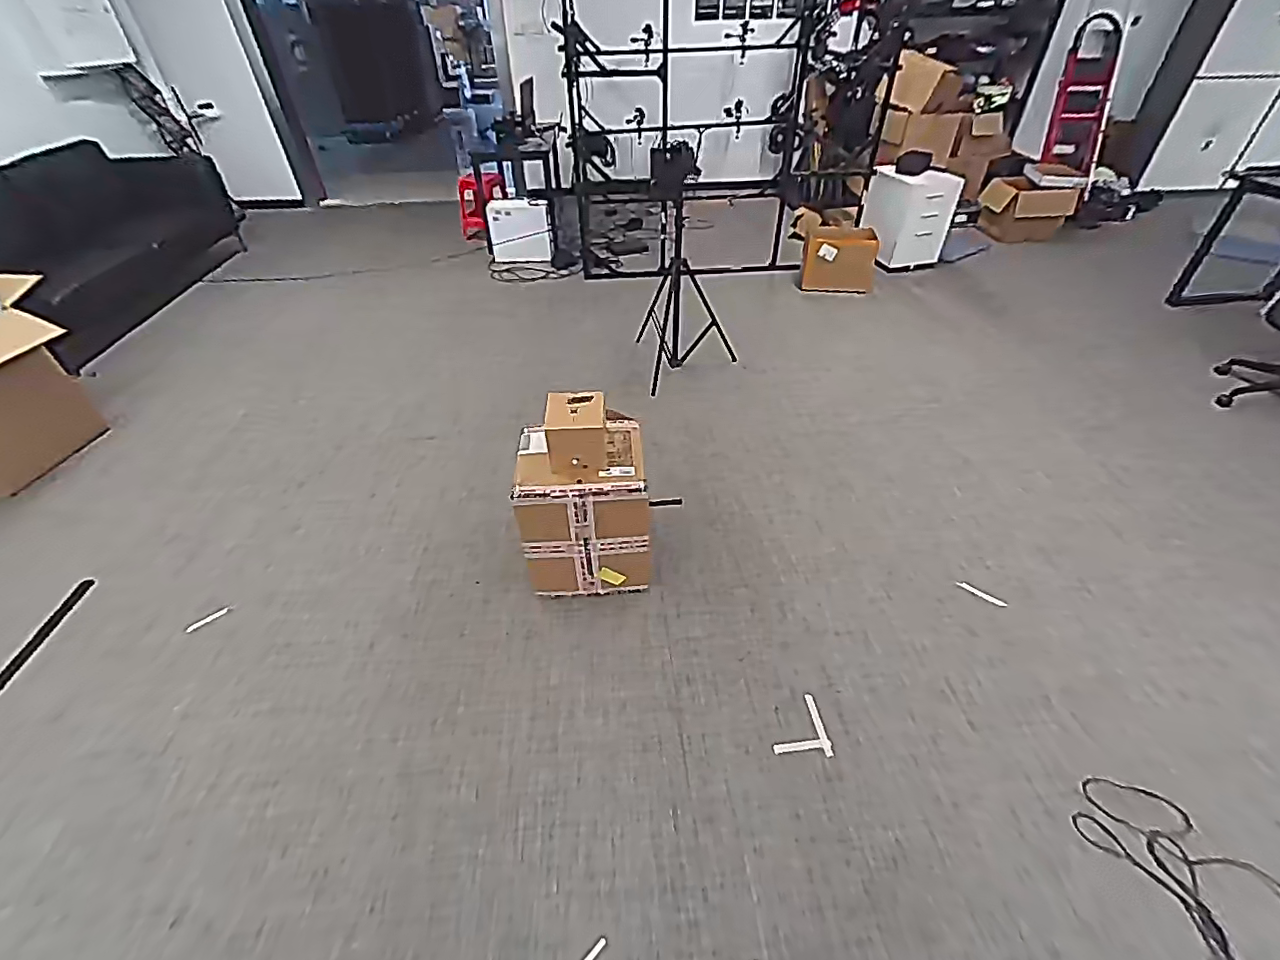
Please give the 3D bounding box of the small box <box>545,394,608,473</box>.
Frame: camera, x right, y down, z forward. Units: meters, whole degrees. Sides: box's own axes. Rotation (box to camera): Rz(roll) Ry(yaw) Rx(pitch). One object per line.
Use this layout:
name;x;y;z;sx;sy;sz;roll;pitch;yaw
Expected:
small box;-0.183;-0.138;1.612;0.168;0.176;0.179;-2;45;-1
